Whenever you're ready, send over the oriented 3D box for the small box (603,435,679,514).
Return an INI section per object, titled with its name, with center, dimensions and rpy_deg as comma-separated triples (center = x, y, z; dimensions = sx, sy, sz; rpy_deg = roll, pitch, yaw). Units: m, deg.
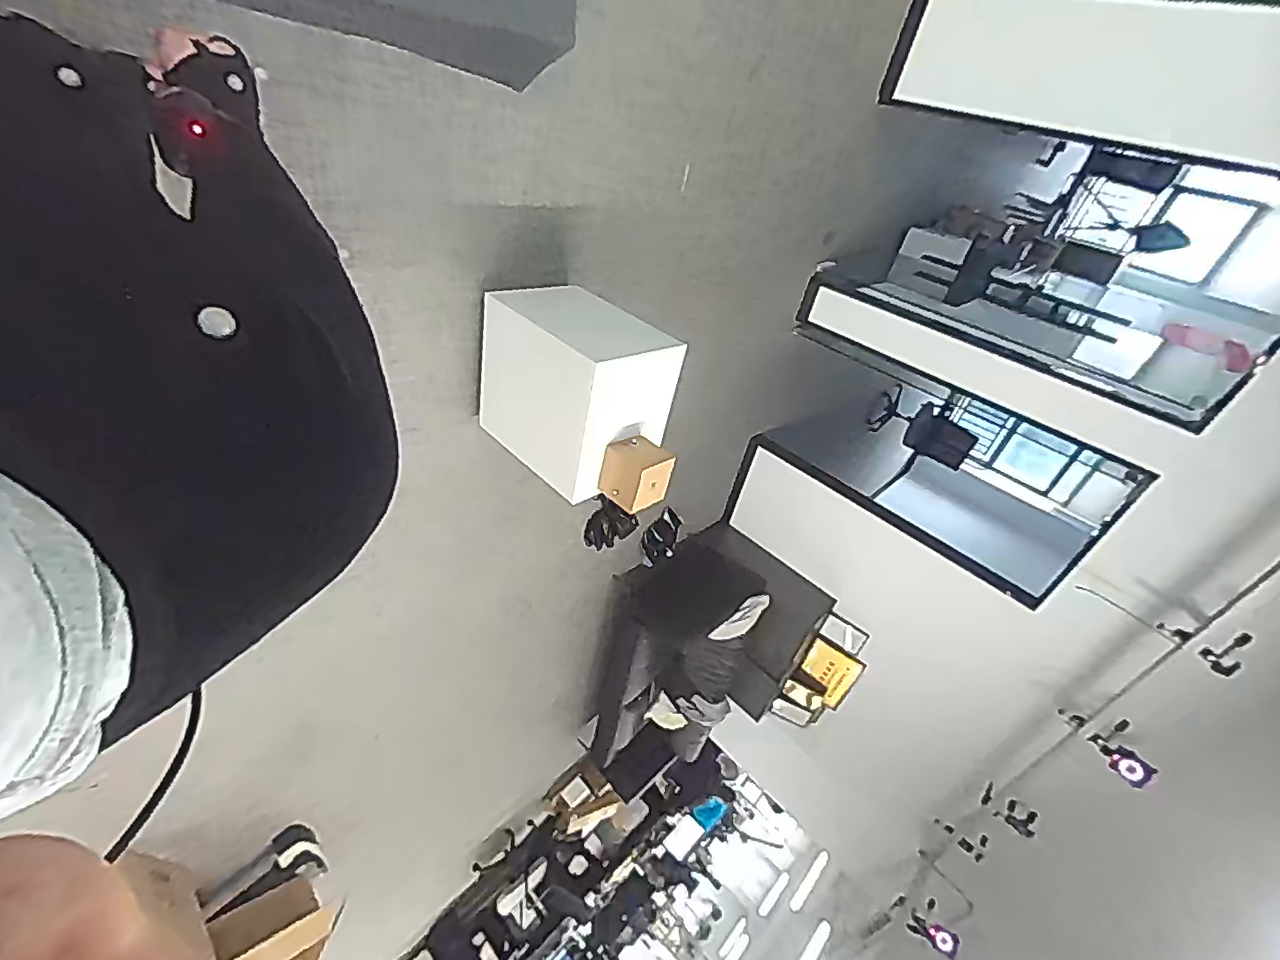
[small box]
center = -0.002, -0.021, 1.775
dimensions = 0.168, 0.176, 0.179
rpy_deg = -24, 138, -43
